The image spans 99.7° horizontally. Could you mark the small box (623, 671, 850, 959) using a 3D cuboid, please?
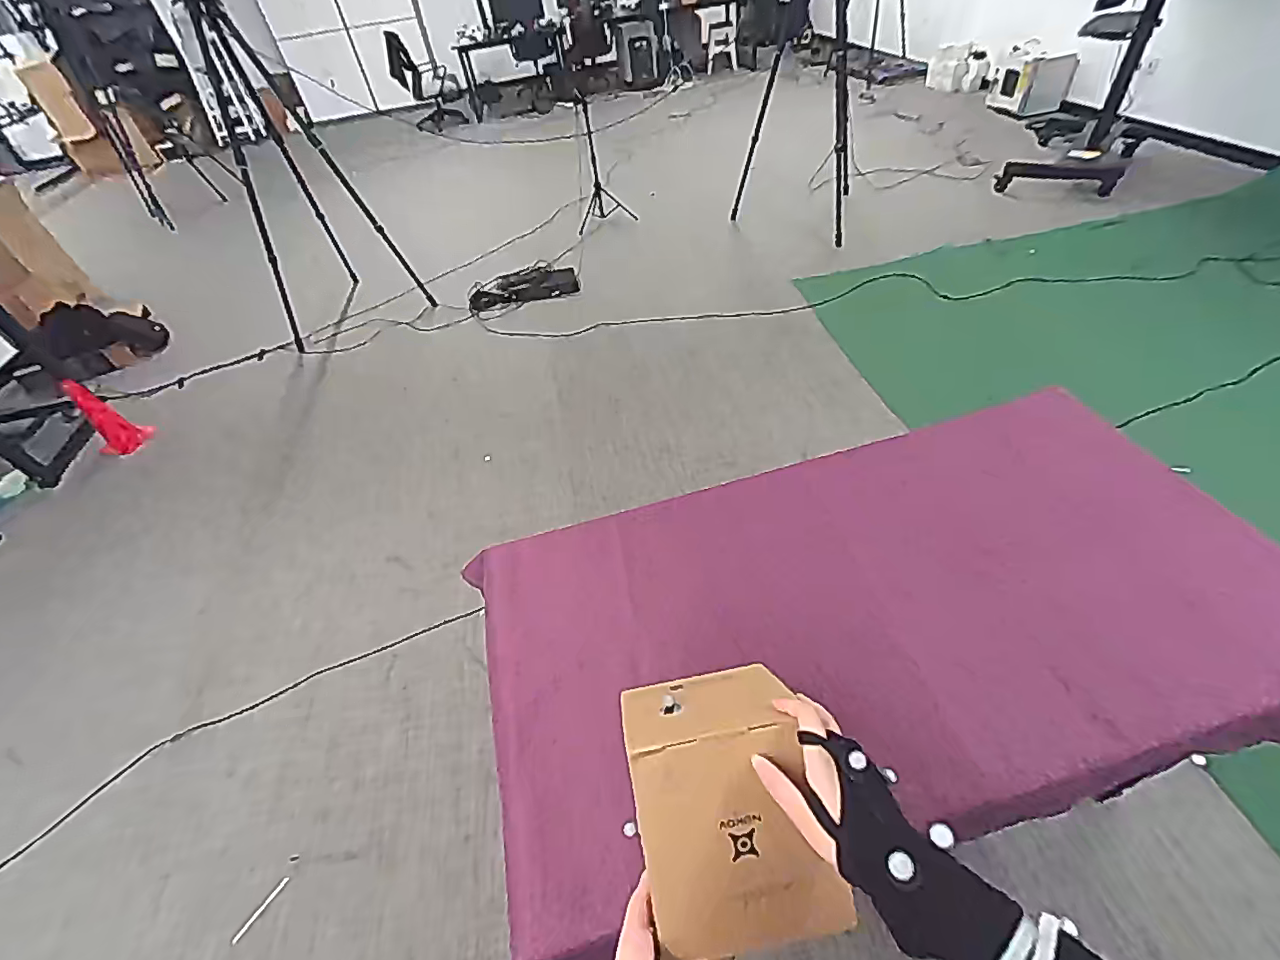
[{"bbox_3d":[0.077,0.301,0.532,0.168,0.176,0.179,-10,86,-4],"label":"small box"}]
